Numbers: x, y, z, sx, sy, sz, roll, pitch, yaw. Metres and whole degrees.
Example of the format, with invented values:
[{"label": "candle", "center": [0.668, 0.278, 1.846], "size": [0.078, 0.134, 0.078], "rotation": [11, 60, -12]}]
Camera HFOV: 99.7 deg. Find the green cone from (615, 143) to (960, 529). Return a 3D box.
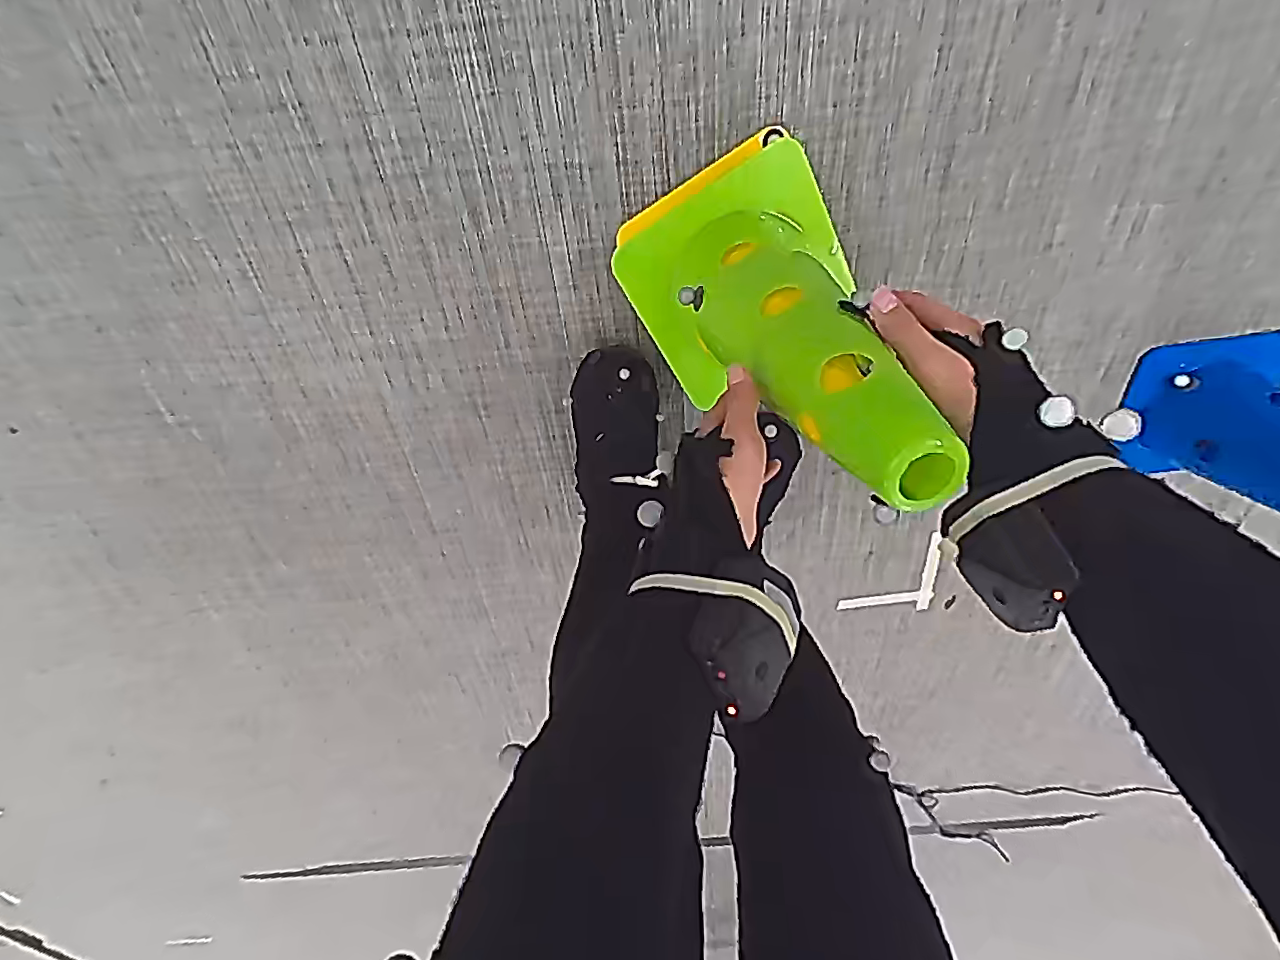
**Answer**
[{"label": "green cone", "center": [0.114, -0.093, 0.386], "size": [0.202, 0.368, 0.200], "rotation": [-29, 119, 14]}]
